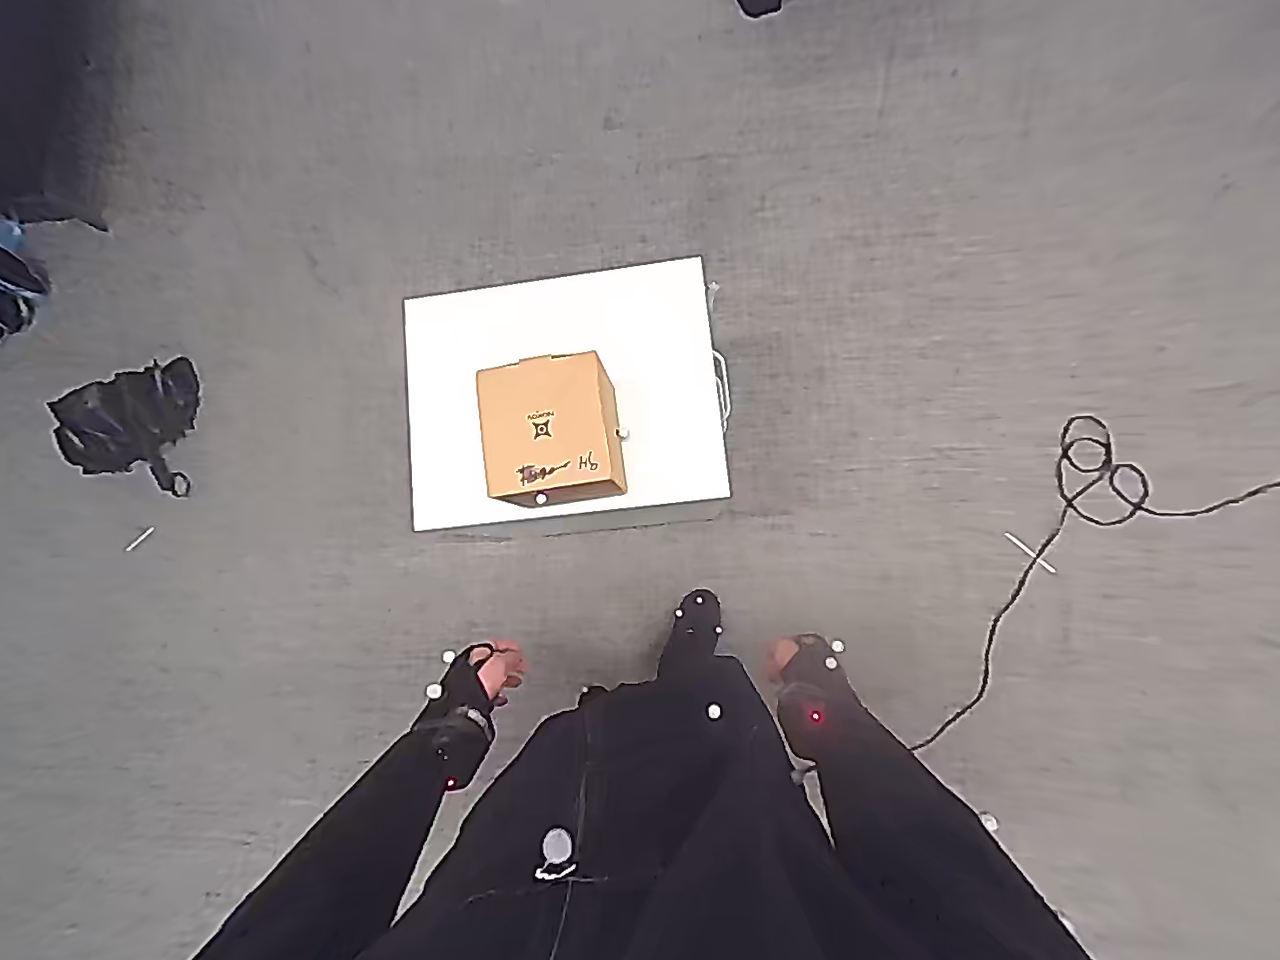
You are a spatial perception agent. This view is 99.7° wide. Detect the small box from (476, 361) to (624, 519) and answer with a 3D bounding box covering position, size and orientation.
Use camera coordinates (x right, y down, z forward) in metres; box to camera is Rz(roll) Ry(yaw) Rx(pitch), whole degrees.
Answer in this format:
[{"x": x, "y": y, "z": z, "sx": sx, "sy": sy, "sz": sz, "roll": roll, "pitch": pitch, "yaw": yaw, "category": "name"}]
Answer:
[{"x": -0.121, "y": -0.048, "z": 0.782, "sx": 0.168, "sy": 0.176, "sz": 0.179, "roll": -10, "pitch": 79, "yaw": 4, "category": "small box"}]
